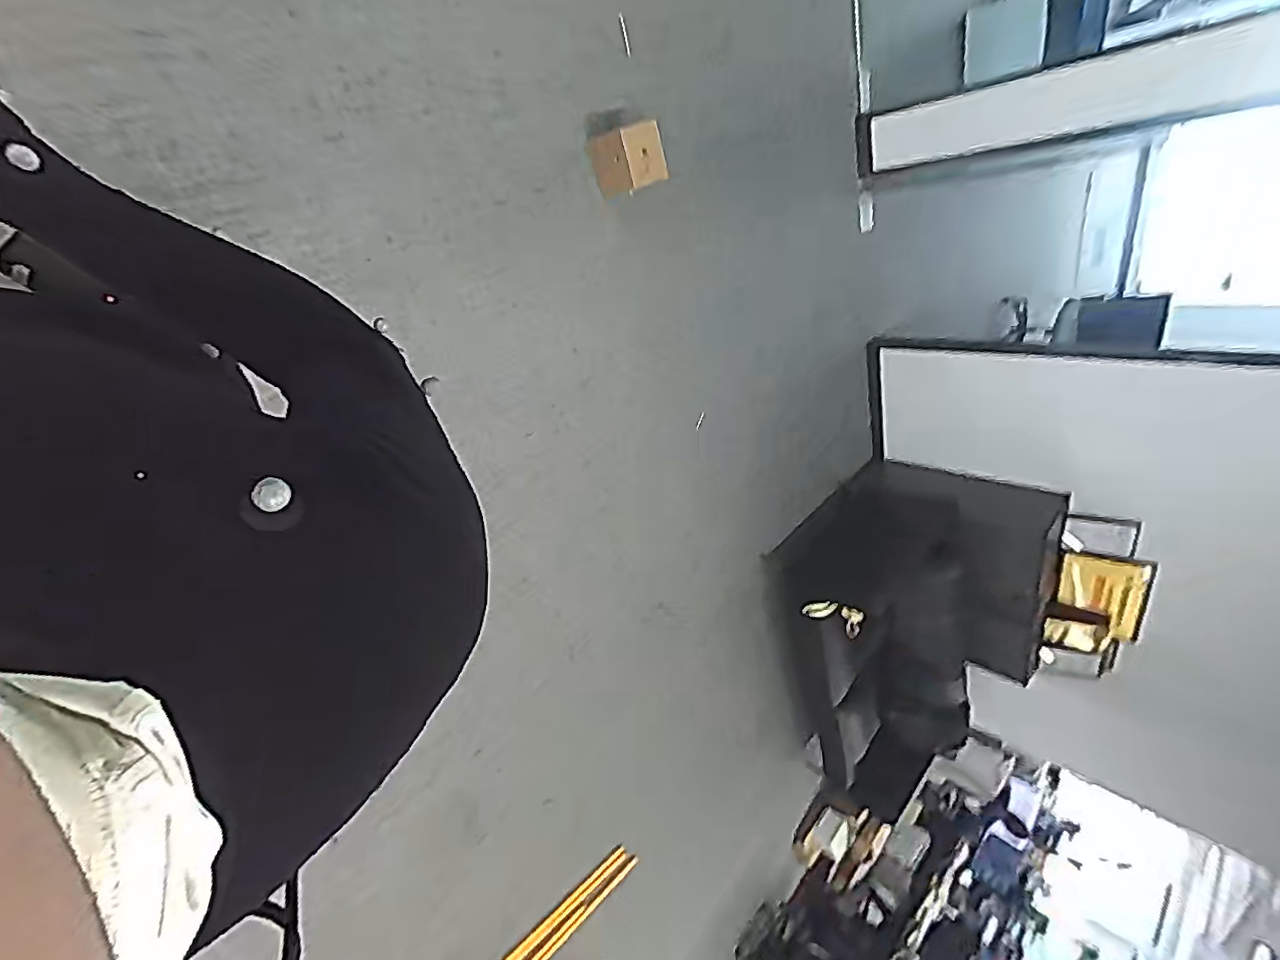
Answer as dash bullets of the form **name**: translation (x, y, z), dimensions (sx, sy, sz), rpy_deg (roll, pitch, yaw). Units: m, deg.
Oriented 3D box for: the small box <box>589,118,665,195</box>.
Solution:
- **small box**: translation (-0.046, -1.073, 1.799), dimensions (0.168, 0.176, 0.179), rpy_deg (-36, 126, -29)
